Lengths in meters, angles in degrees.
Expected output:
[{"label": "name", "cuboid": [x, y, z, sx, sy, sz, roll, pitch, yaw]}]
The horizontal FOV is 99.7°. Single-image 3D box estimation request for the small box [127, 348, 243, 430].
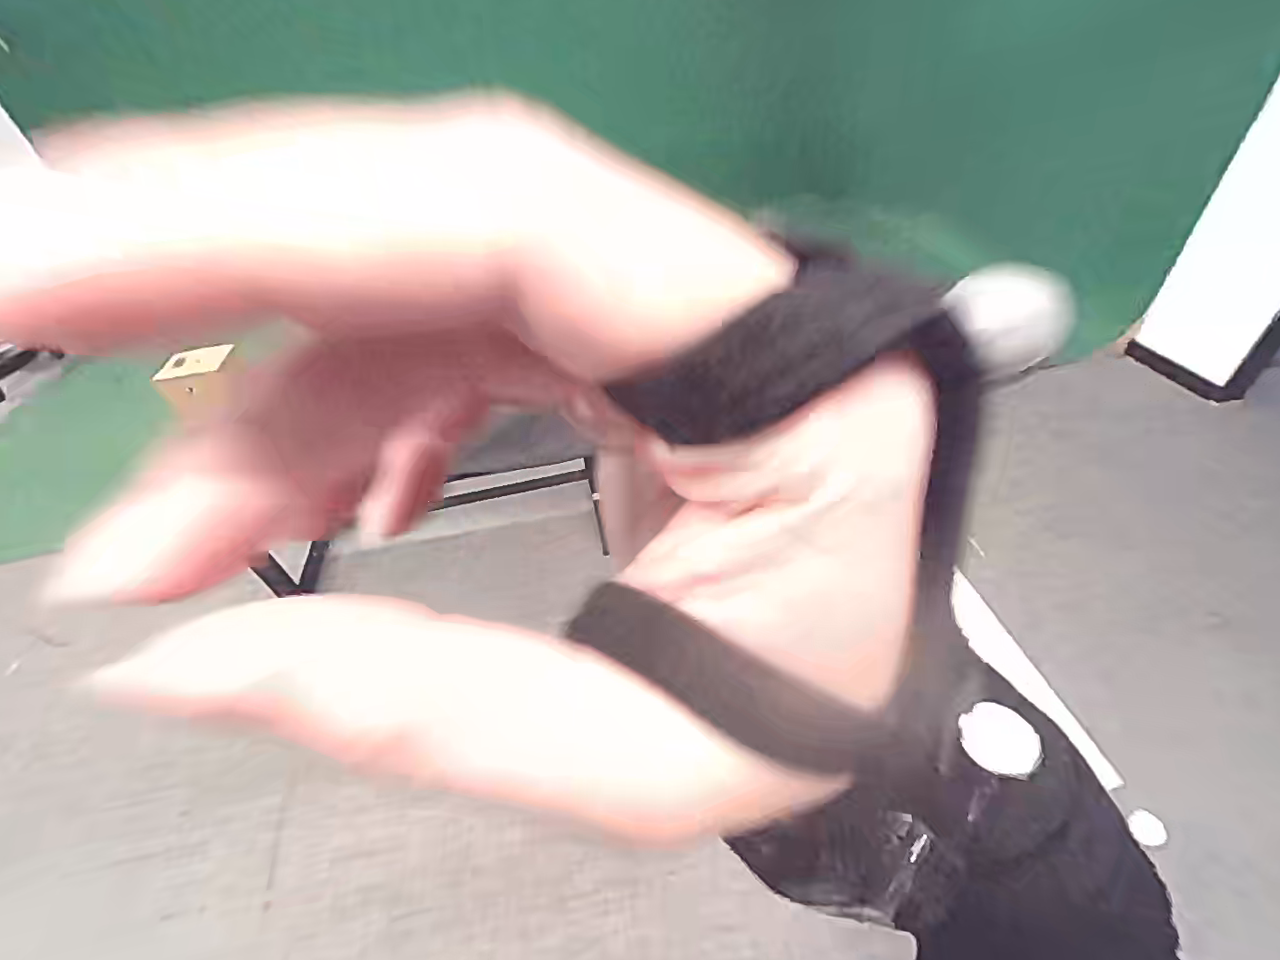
[{"label": "small box", "cuboid": [-1.315, -0.262, 1.577, 0.179, 0.176, 0.168, -11, 41, -10]}]
